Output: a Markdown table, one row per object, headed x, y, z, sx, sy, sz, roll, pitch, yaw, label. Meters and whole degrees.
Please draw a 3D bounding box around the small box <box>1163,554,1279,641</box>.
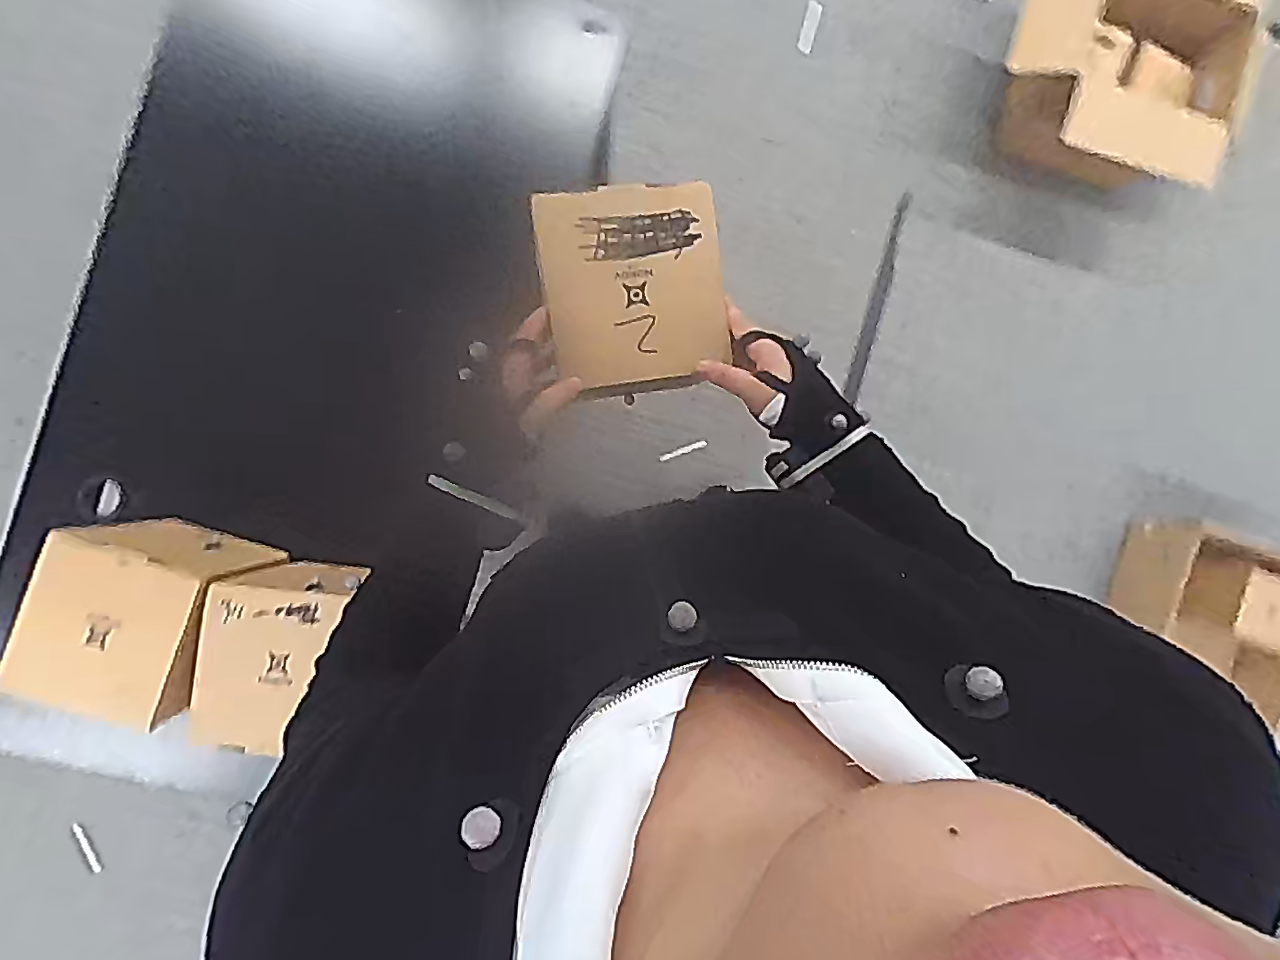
| x | y | z | sx | sy | sz | roll | pitch | yaw | label |
| --- | --- | --- | --- | --- | --- | --- | --- | --- | --- |
| 1.627 | 0.318 | 1.505 | 0.168 | 0.176 | 0.179 | 19 | 90 | -1 | small box |
